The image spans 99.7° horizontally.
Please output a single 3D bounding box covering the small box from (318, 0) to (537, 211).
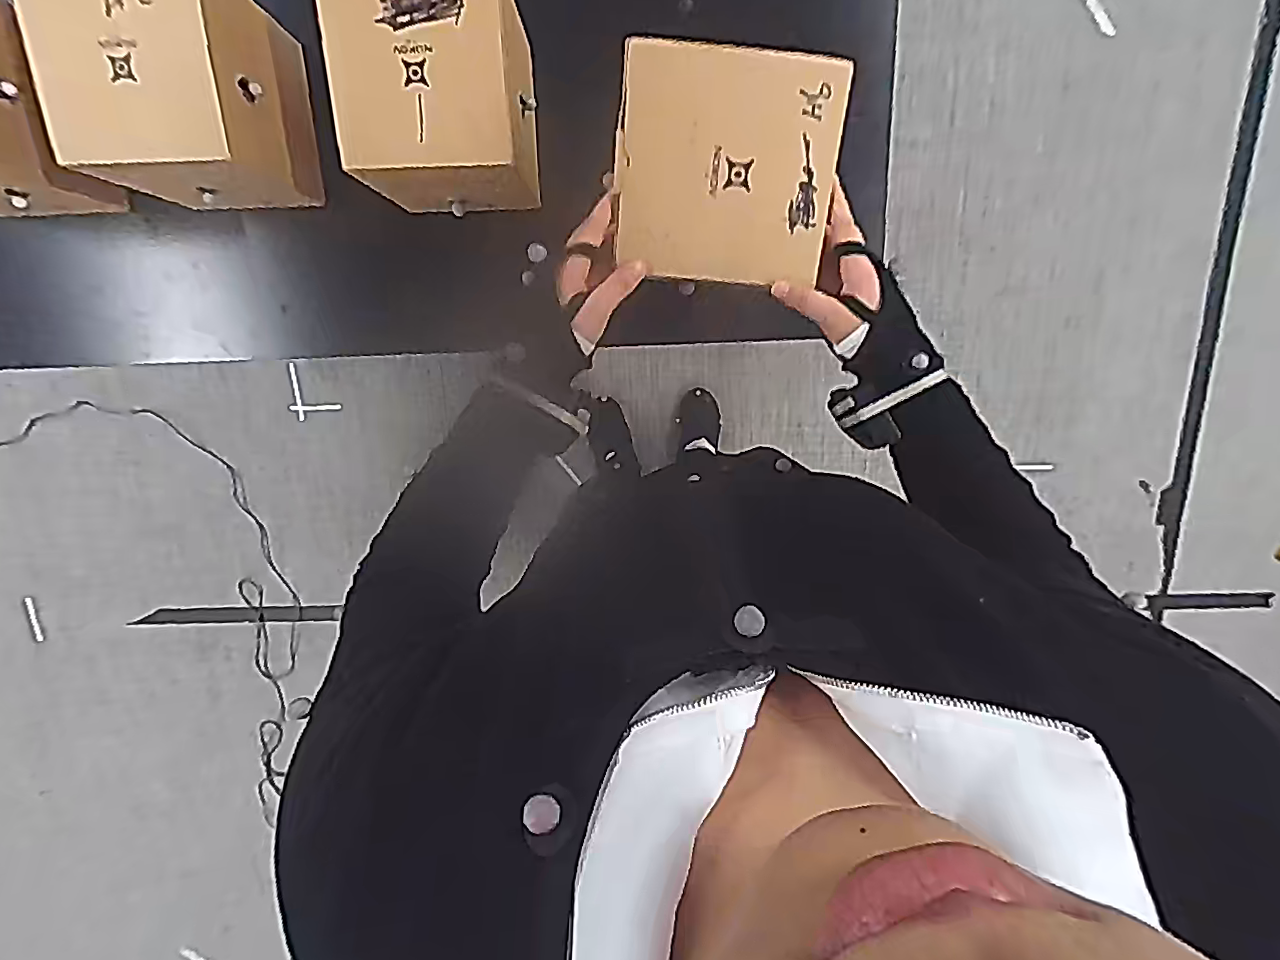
[{"bbox_3d":[-0.208,-0.401,0.574,0.168,0.176,0.179,-2,104,-1],"label":"small box"}]

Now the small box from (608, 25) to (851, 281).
[{"bbox_3d":[0.066,-0.281,0.505,0.179,0.176,0.168,4,109,-3],"label":"small box"}]

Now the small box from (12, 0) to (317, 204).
[{"bbox_3d":[-0.473,-0.401,0.568,0.168,0.176,0.179,-2,103,-1],"label":"small box"}]

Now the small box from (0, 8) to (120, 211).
[{"bbox_3d":[-0.712,-0.393,0.568,0.168,0.176,0.179,-3,102,-1],"label":"small box"}]
